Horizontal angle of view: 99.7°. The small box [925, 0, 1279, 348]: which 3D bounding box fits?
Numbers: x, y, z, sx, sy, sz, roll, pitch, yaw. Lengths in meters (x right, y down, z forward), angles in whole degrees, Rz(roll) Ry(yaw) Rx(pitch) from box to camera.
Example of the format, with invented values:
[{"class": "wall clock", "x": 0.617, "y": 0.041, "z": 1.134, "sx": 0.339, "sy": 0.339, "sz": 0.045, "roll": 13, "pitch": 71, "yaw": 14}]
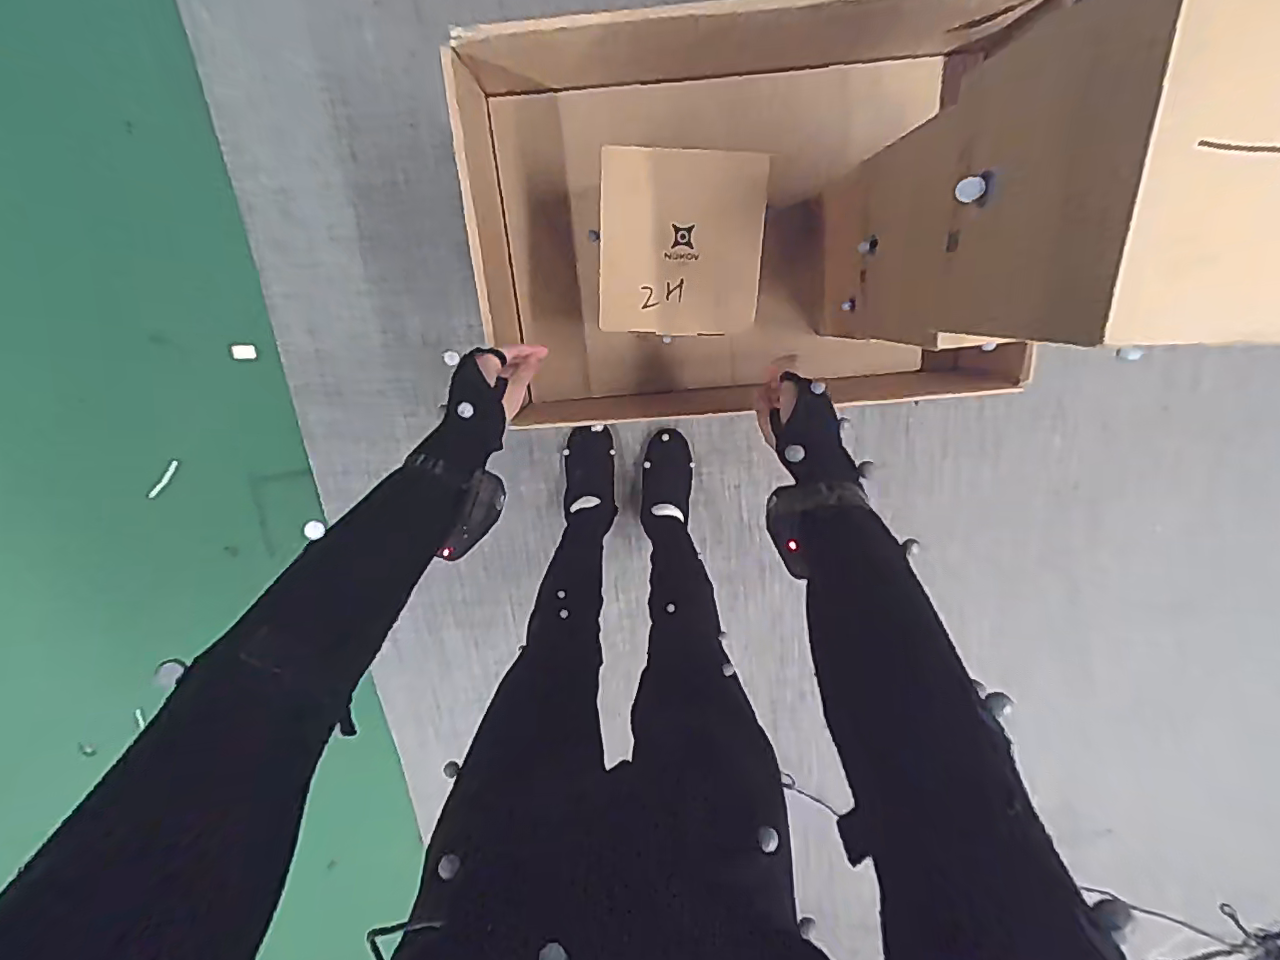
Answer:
[{"class": "small box", "x": 0.299, "y": -0.166, "z": 0.308, "sx": 0.179, "sy": 0.176, "sz": 0.168, "roll": -1, "pitch": 107, "yaw": 1}]
